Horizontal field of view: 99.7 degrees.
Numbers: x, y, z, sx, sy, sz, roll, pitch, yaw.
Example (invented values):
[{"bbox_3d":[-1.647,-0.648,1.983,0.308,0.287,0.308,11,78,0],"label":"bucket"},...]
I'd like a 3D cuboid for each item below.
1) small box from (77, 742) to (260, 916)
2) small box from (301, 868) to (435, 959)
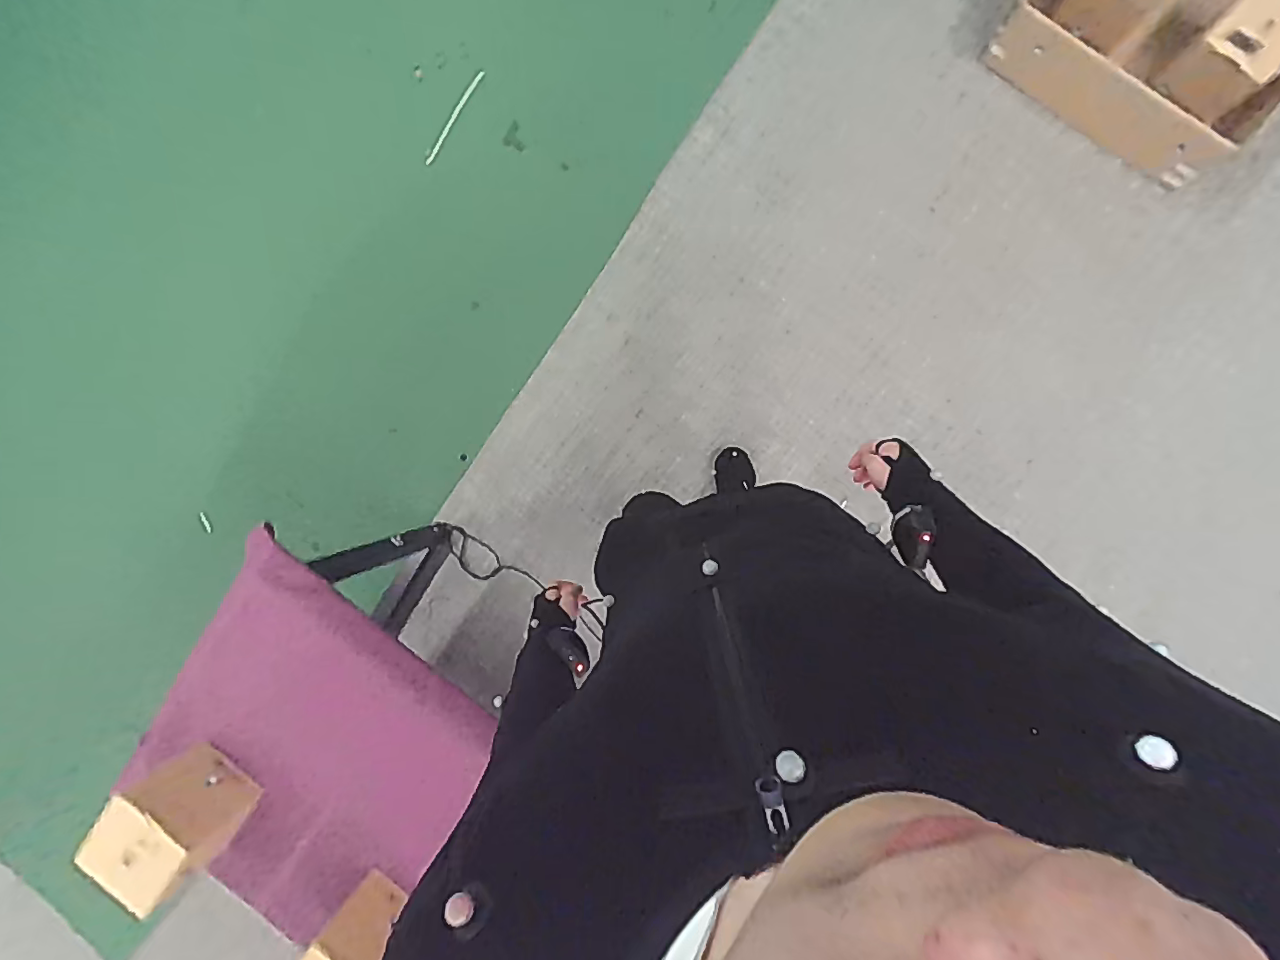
[{"bbox_3d":[-0.871,0.643,1.016,0.168,0.176,0.179,37,98,2],"label":"small box"},{"bbox_3d":[-0.511,0.875,0.987,0.168,0.176,0.179,36,98,4],"label":"small box"}]
